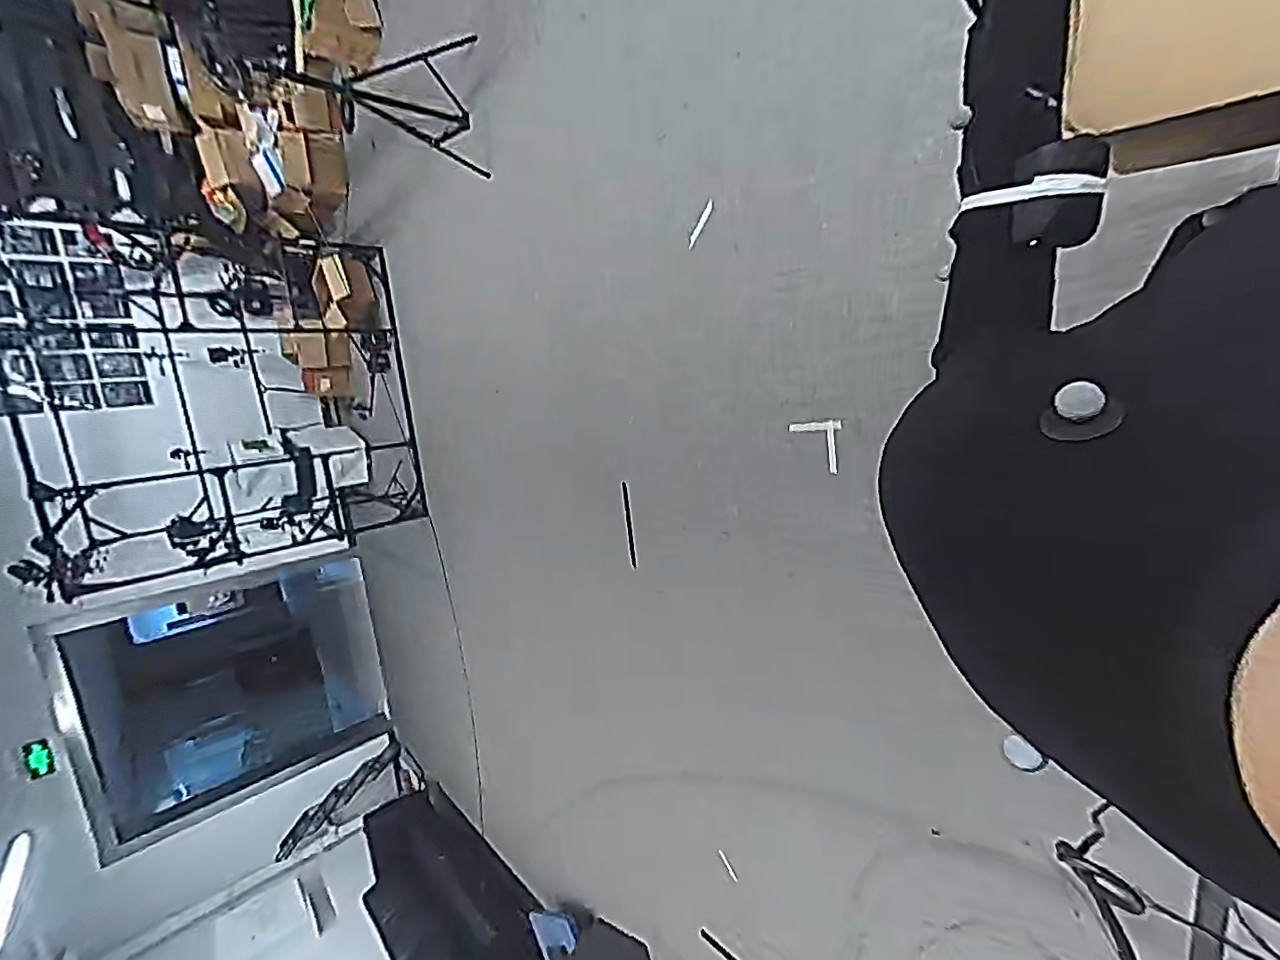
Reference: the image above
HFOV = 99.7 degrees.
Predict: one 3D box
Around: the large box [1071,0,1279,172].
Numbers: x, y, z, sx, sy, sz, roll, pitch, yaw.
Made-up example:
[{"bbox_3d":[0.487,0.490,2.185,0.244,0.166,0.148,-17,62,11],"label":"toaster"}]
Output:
[{"bbox_3d":[0.534,-0.413,0.312,0.408,0.320,0.320,10,115,44],"label":"large box"}]
